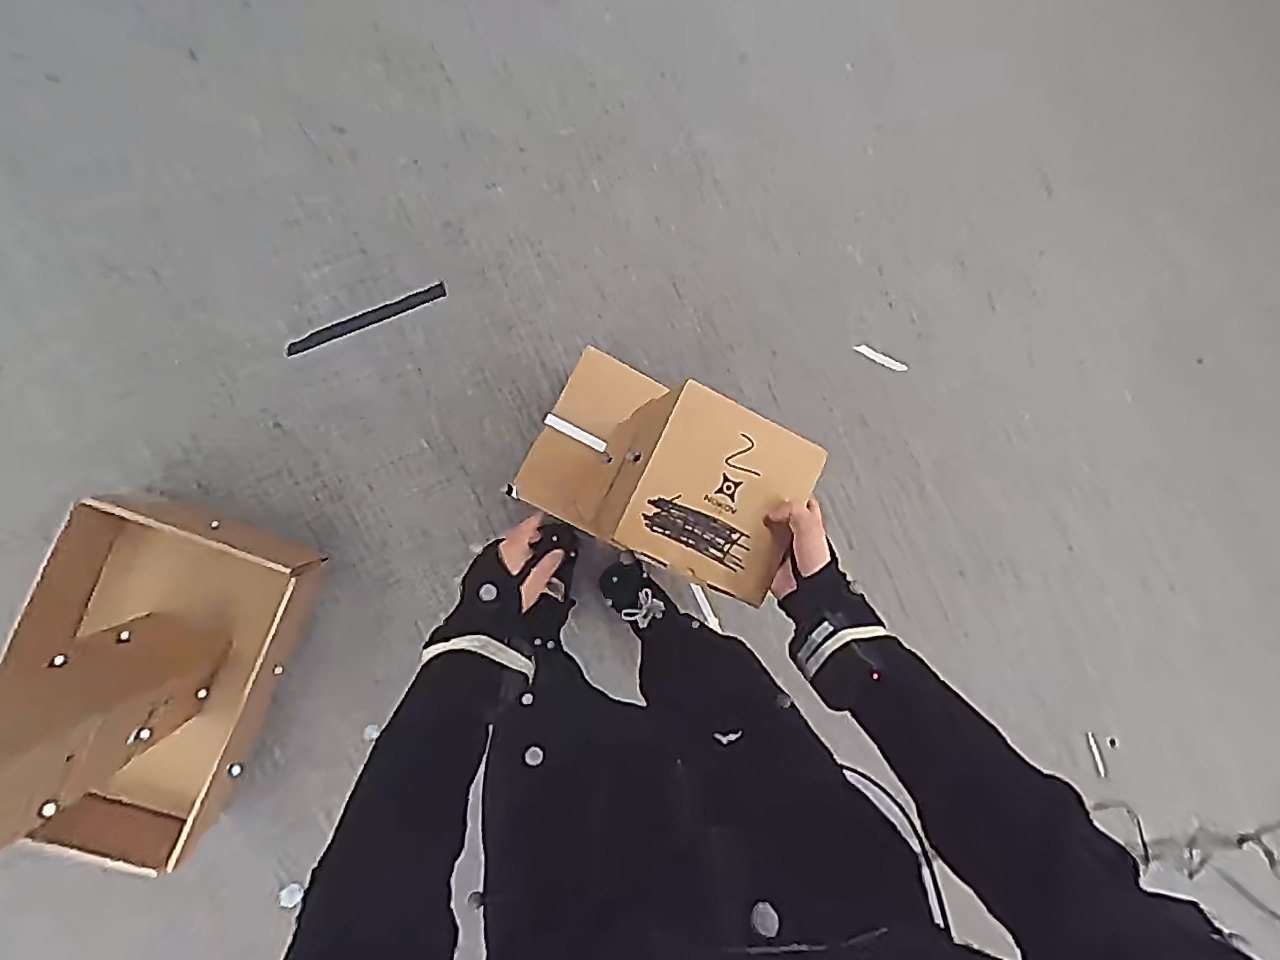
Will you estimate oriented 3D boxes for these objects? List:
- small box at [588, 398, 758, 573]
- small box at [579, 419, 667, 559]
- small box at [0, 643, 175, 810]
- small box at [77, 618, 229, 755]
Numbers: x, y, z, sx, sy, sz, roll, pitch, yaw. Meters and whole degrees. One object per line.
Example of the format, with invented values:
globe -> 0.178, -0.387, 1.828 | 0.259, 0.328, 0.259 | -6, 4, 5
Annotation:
small box -> 0.035, 0.006, 0.768 | 0.168, 0.176, 0.179 | 28, 86, -10
small box -> 0.005, 0.013, 0.930 | 0.168, 0.176, 0.179 | 28, 86, -9
small box -> -0.928, 0.384, 0.877 | 0.179, 0.176, 0.168 | 25, 88, -10
small box -> -0.953, 0.382, 1.037 | 0.179, 0.176, 0.168 | 26, 88, -9
